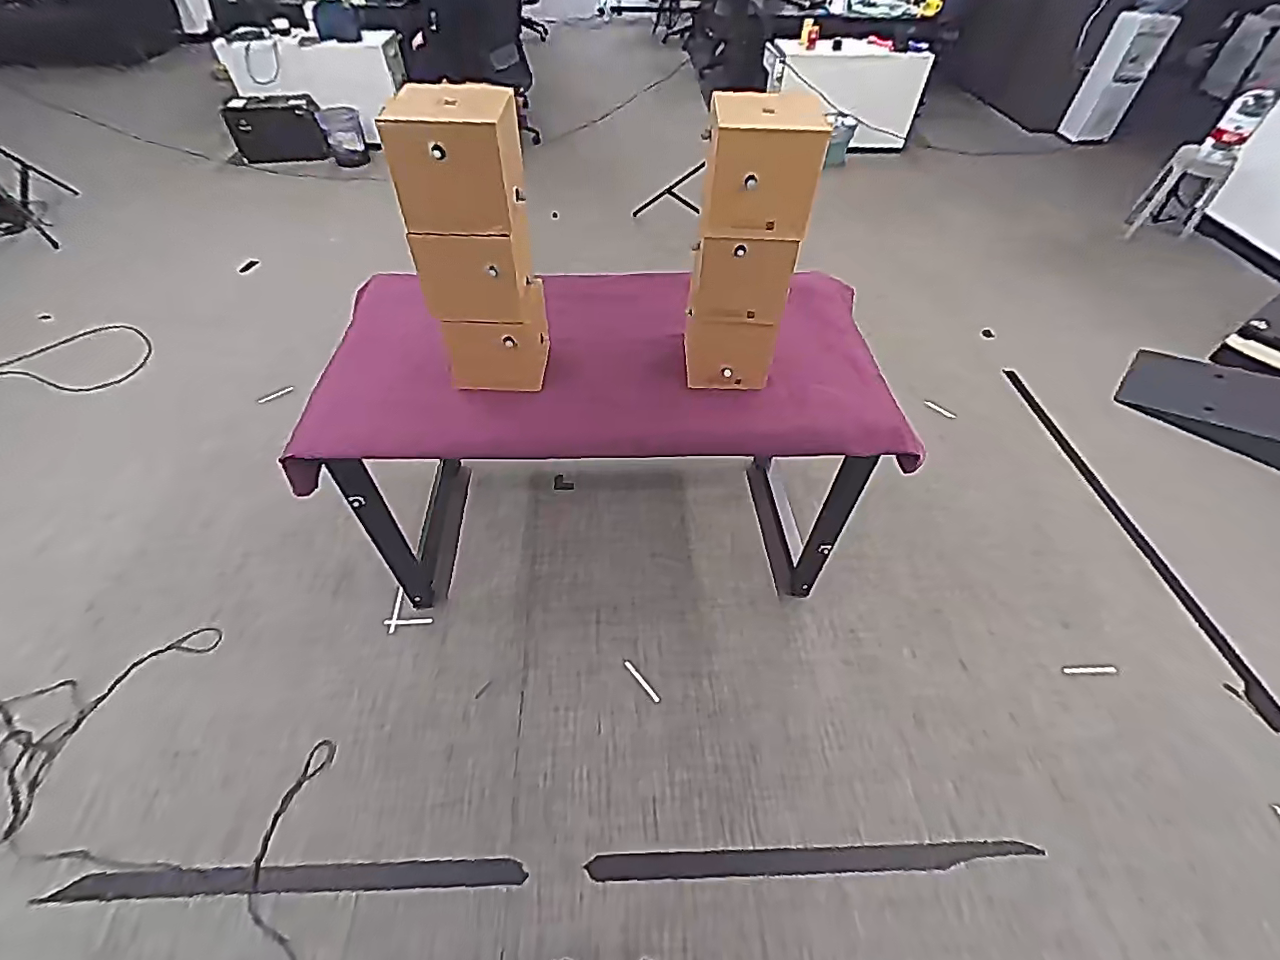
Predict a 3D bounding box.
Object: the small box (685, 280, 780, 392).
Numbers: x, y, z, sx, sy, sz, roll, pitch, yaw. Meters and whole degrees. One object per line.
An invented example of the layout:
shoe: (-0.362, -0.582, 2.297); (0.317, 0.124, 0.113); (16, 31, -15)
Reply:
small box: (0.187, -0.309, 1.151); (0.168, 0.176, 0.179); (0, 50, 0)

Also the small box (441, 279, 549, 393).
small box: (-0.289, -0.297, 1.129); (0.179, 0.176, 0.168); (1, 49, 0)

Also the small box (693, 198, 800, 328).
small box: (0.190, -0.411, 1.023); (0.168, 0.176, 0.179); (2, 49, 1)

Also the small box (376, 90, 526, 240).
small box: (-0.292, -0.510, 0.881); (0.179, 0.176, 0.168); (1, 51, -2)

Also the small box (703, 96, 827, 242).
small box: (0.194, -0.512, 0.895); (0.168, 0.176, 0.179); (2, 49, 1)
